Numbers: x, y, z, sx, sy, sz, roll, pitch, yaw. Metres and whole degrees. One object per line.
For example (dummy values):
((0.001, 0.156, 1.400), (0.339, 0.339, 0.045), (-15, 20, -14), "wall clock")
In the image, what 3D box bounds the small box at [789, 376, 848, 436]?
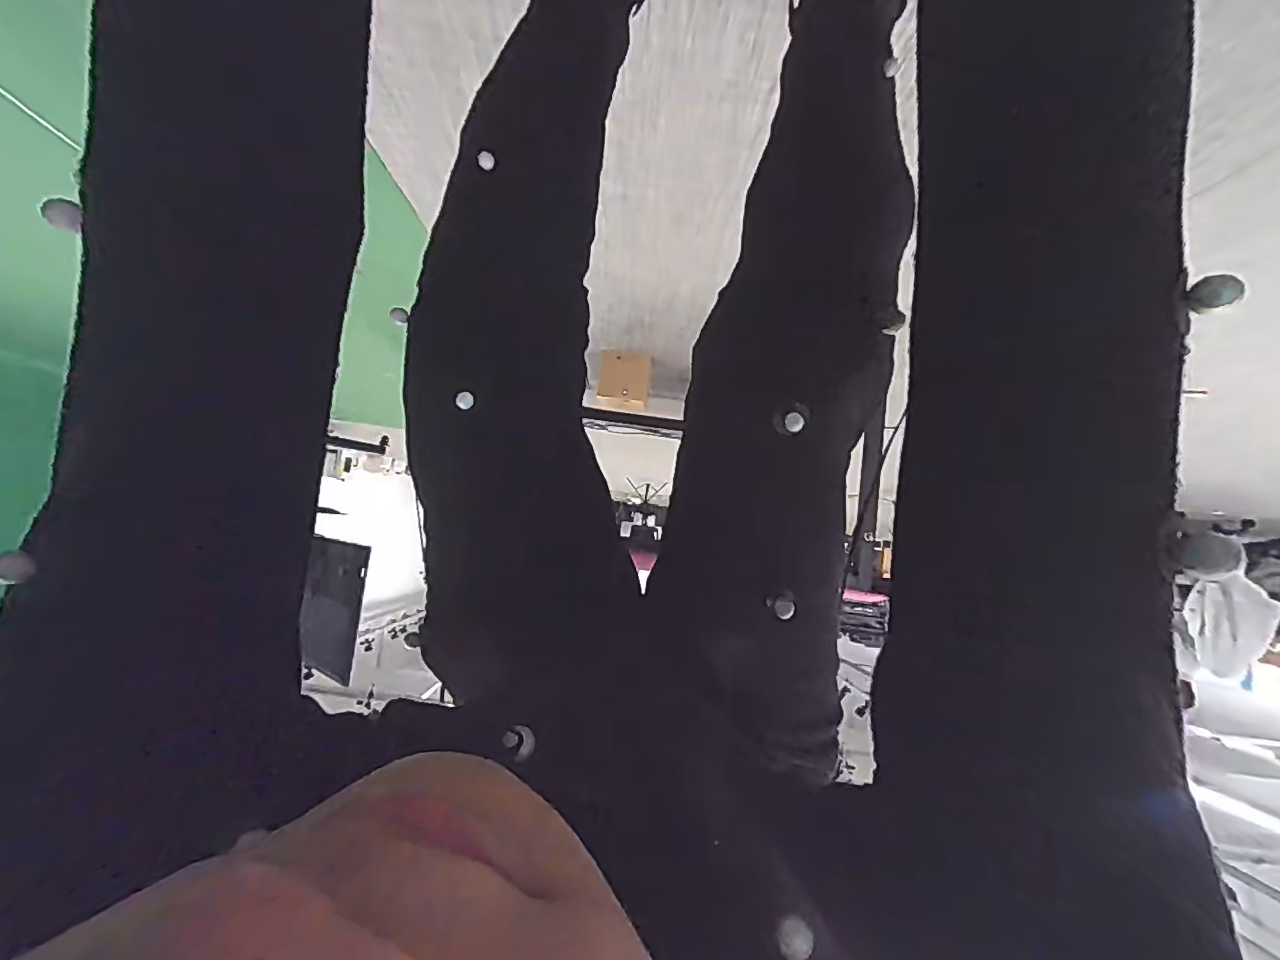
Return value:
((0.631, -0.261, 1.918), (0.168, 0.176, 0.179), (7, 174, 7), "small box")

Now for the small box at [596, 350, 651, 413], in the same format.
((-0.055, -0.348, 1.930), (0.168, 0.176, 0.179), (7, 174, 5), "small box")
